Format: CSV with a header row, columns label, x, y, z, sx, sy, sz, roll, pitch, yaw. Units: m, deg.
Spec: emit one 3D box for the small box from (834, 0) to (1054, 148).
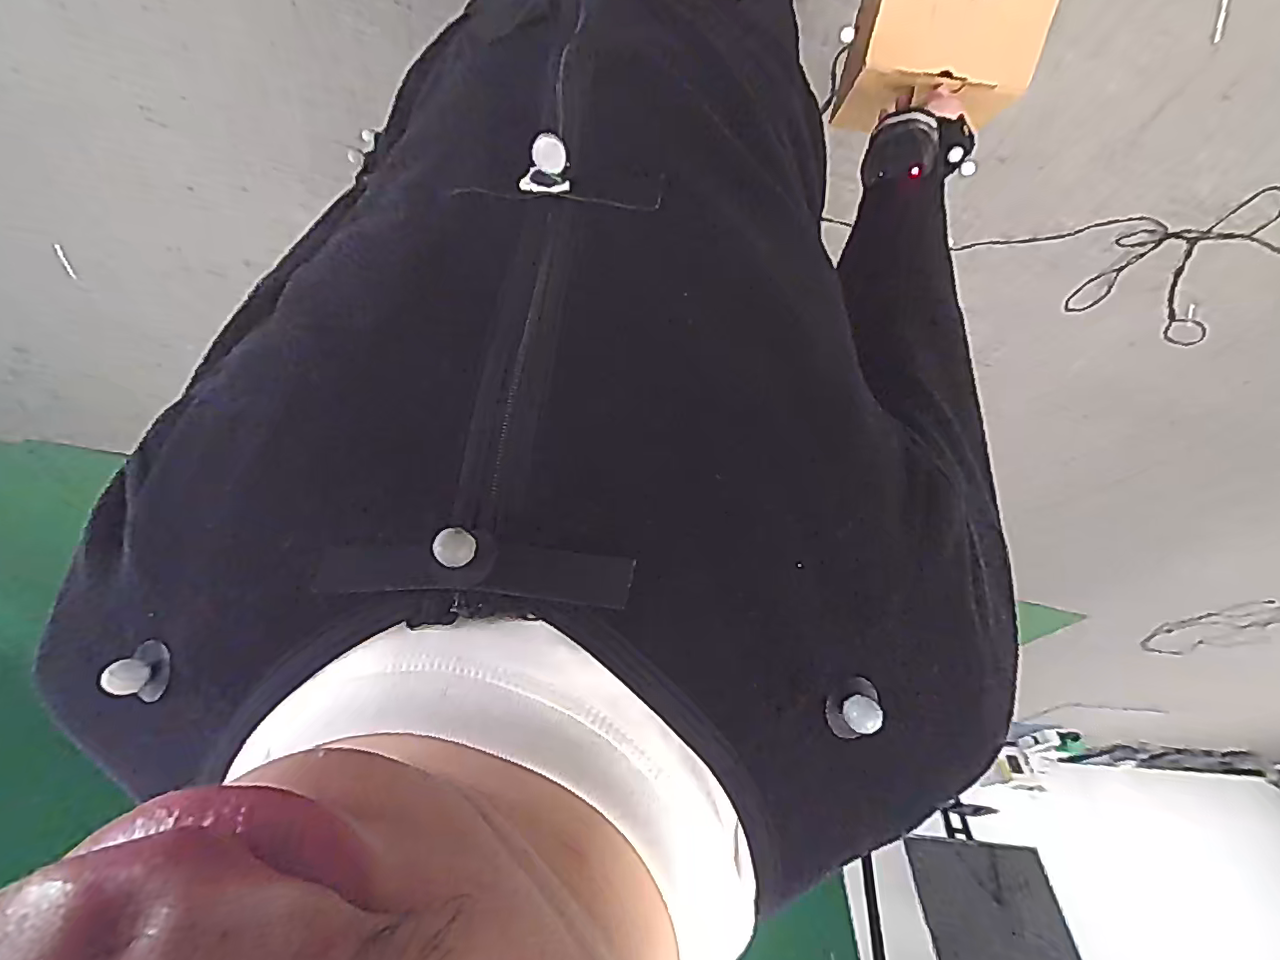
label,x,y,z,sx,sy,sz,roll,pitch,yaw
small box,0.331,-0.502,0.604,0.168,0.176,0.179,13,104,4
